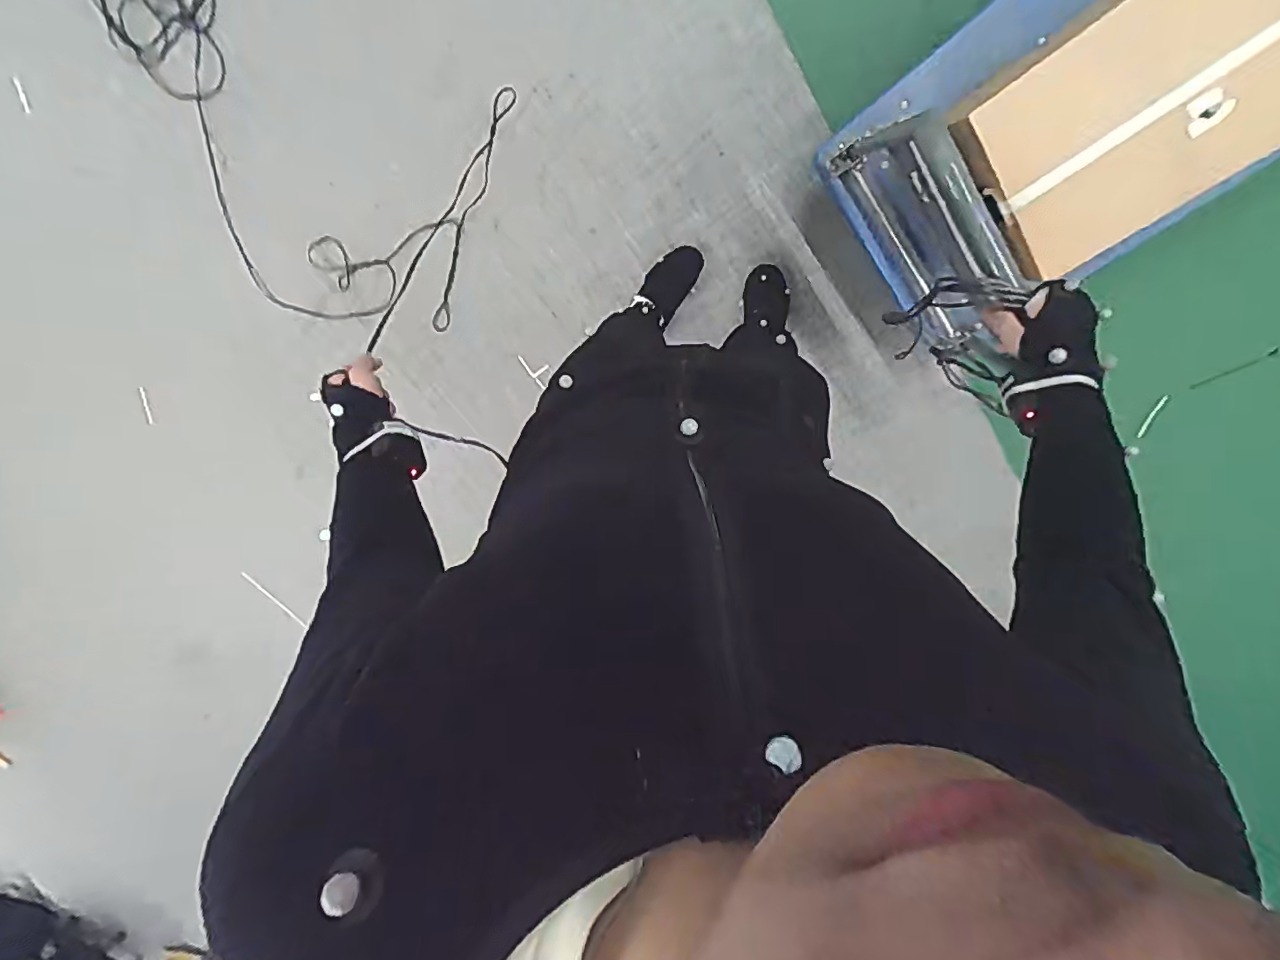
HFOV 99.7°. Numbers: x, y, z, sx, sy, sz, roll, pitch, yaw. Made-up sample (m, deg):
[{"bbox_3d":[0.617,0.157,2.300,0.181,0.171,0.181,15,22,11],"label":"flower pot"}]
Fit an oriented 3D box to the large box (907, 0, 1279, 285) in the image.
[{"bbox_3d":[0.769,-0.602,0.948,0.408,0.320,0.320,-32,107,19],"label":"large box"}]
